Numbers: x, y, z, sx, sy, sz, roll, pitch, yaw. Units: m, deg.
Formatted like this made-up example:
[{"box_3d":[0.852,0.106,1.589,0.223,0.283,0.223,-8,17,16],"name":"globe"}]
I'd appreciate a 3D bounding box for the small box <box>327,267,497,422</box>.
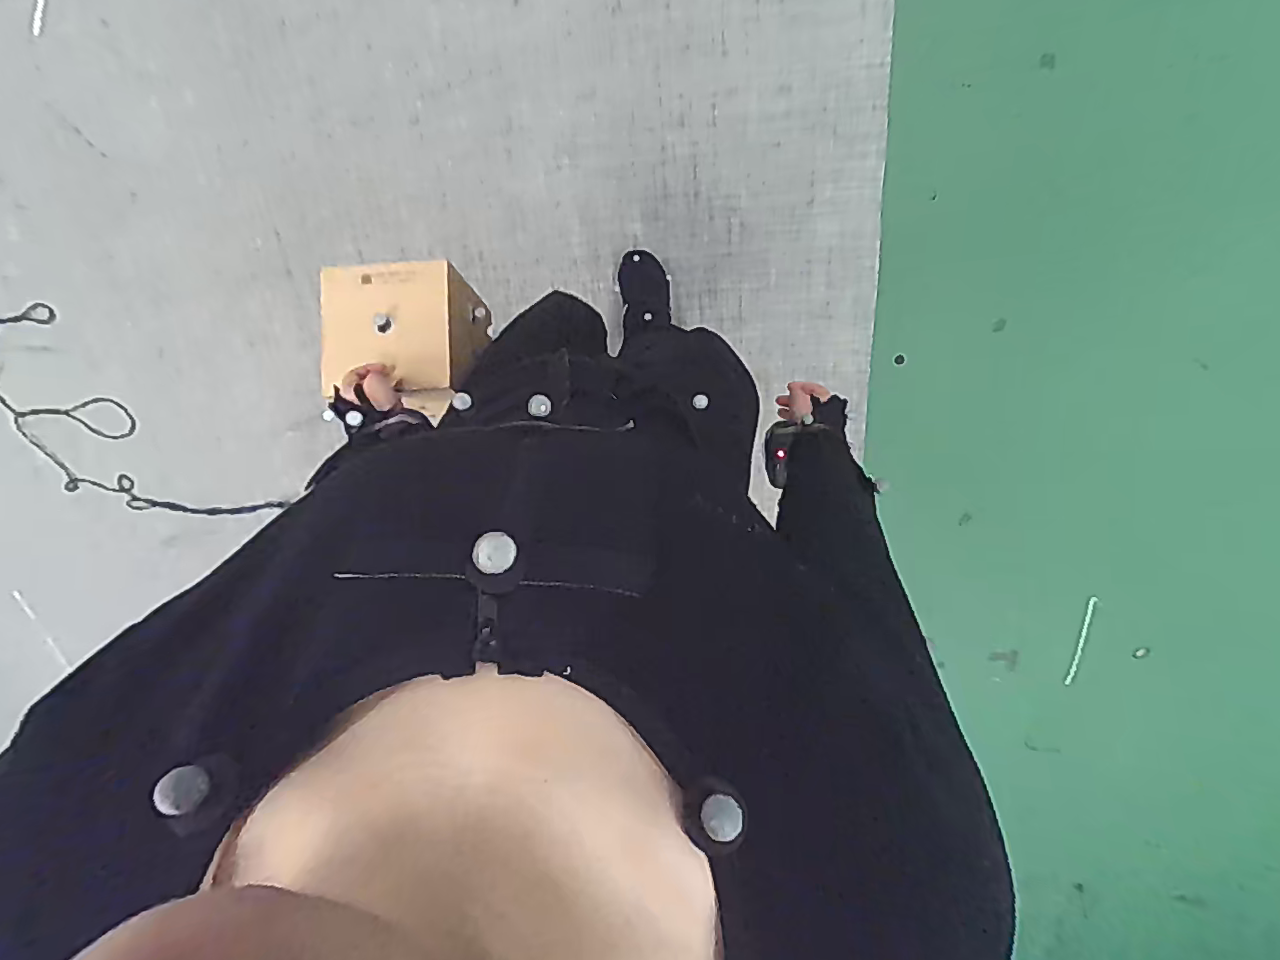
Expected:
[{"box_3d":[-0.311,-0.185,0.756,0.168,0.179,0.176,-4,86,3],"name":"small box"}]
